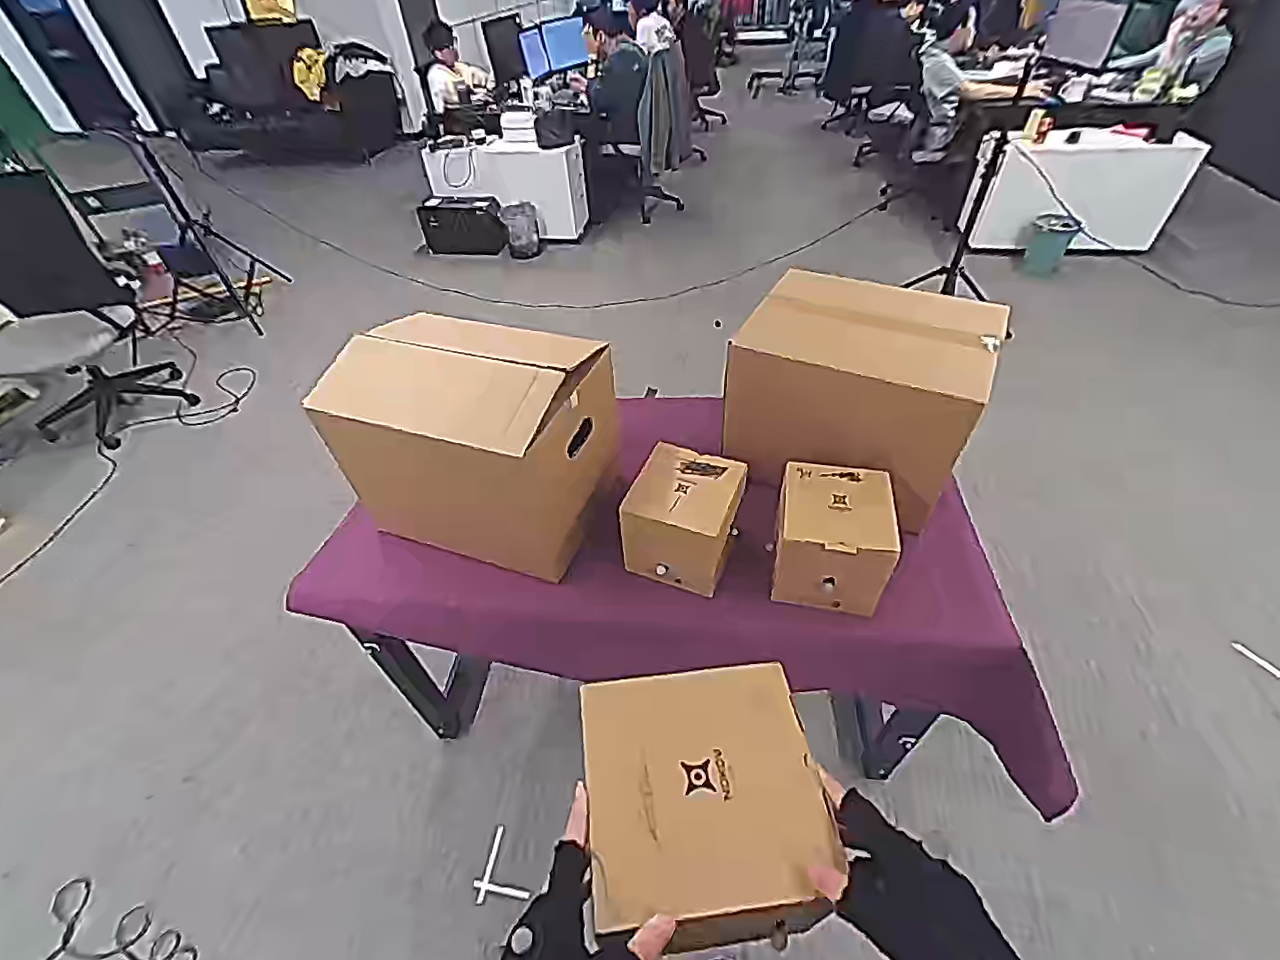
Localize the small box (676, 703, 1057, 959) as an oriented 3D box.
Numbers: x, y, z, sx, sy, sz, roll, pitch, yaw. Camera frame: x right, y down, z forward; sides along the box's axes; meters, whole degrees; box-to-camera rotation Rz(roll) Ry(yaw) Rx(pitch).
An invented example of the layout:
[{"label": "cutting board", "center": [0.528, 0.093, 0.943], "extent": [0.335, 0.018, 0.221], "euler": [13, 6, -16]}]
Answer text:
[{"label": "small box", "center": [0.167, 0.295, 0.396], "extent": [0.179, 0.168, 0.176], "euler": [41, 17, 35]}]

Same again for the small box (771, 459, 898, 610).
[{"label": "small box", "center": [0.313, 0.092, 0.895], "extent": [0.168, 0.176, 0.179], "euler": [8, 46, 11]}]
